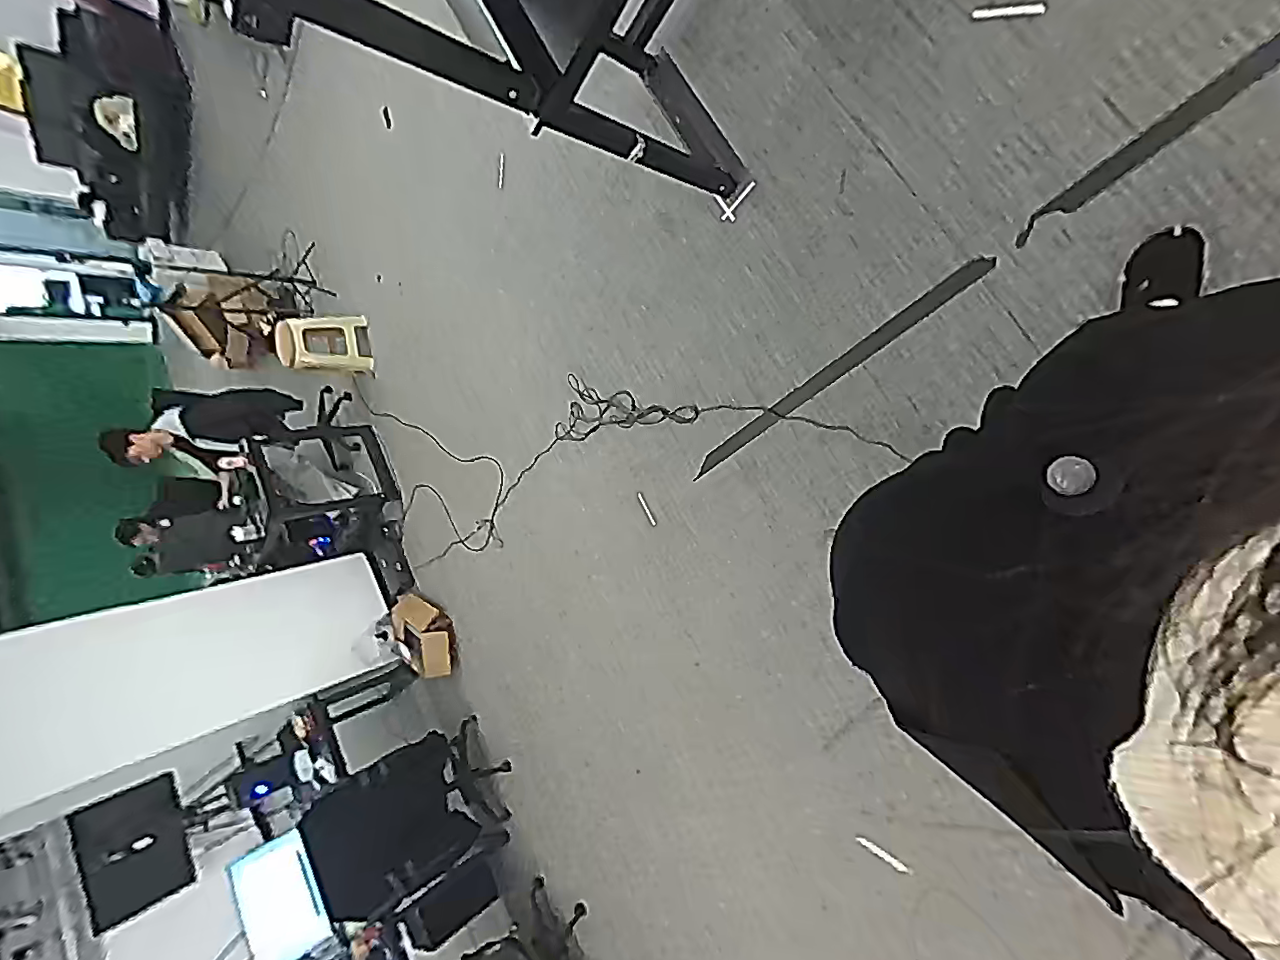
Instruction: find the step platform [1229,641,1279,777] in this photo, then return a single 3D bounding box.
[{"bbox_3d":[1.344,0.348,0.755,0.684,0.204,0.286,-31,77,41],"label":"step platform"}]
